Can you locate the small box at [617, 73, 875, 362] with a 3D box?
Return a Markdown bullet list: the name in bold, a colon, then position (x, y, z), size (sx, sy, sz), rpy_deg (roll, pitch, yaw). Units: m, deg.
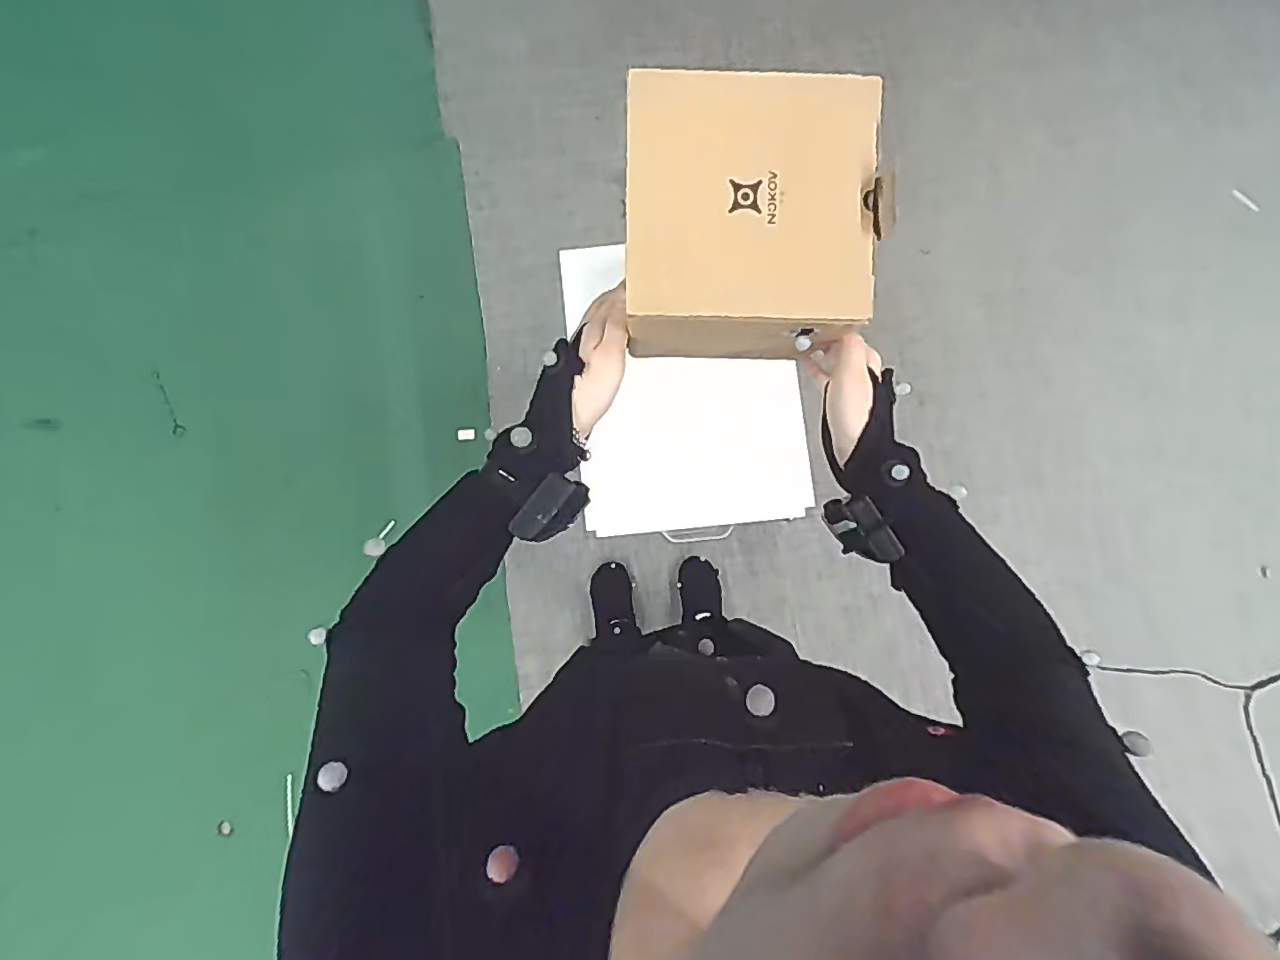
- **small box**: position (0.071, -0.195, 0.451), size (0.179, 0.176, 0.168), rpy_deg (1, 92, -2)
